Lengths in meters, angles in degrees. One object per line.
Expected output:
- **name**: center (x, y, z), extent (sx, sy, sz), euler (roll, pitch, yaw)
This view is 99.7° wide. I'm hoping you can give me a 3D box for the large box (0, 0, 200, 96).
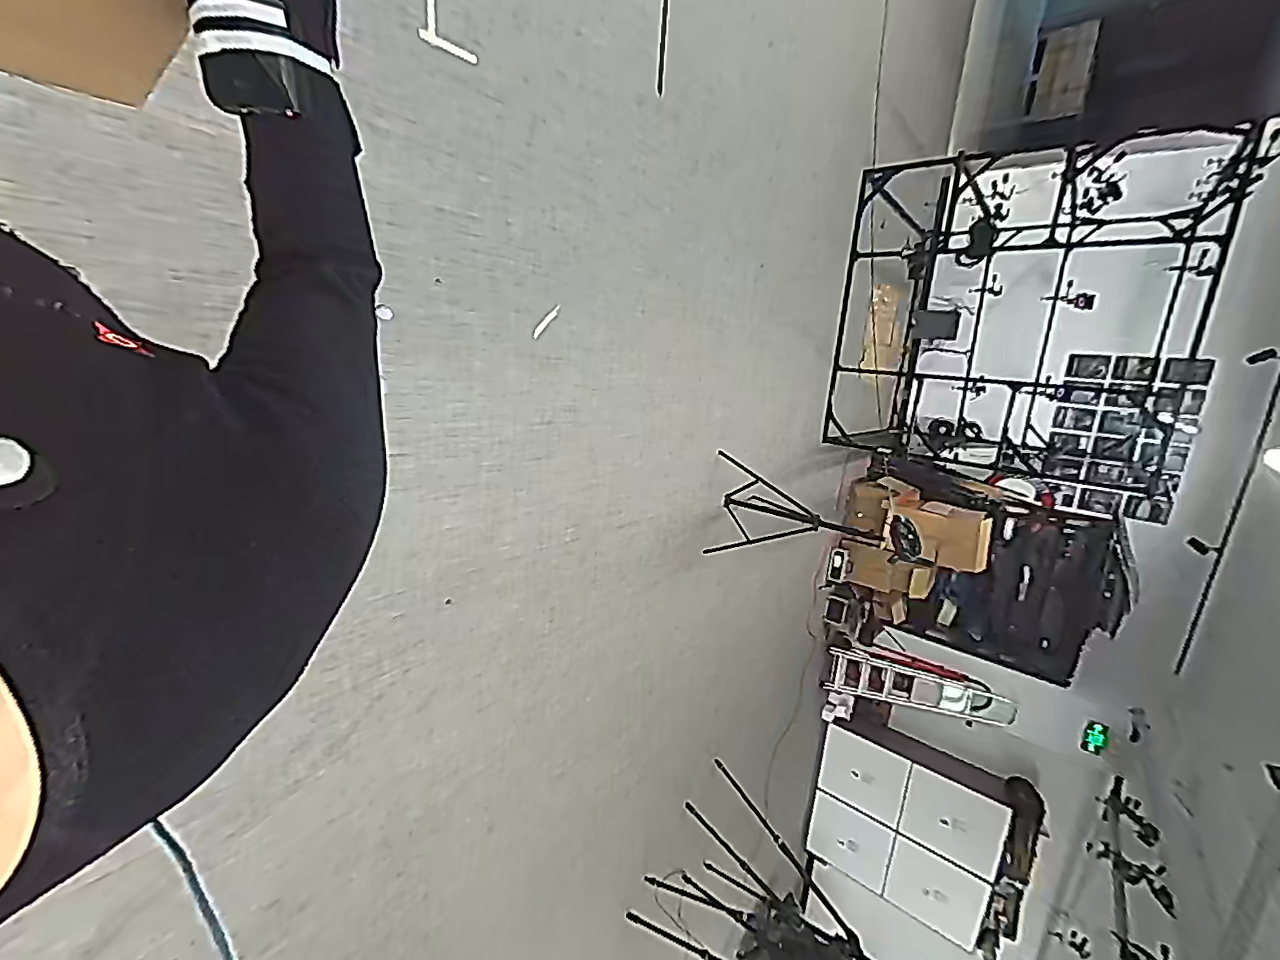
- **large box**: center (-0.488, -0.458, 0.244), extent (0.408, 0.320, 0.320), euler (-14, 109, -49)
